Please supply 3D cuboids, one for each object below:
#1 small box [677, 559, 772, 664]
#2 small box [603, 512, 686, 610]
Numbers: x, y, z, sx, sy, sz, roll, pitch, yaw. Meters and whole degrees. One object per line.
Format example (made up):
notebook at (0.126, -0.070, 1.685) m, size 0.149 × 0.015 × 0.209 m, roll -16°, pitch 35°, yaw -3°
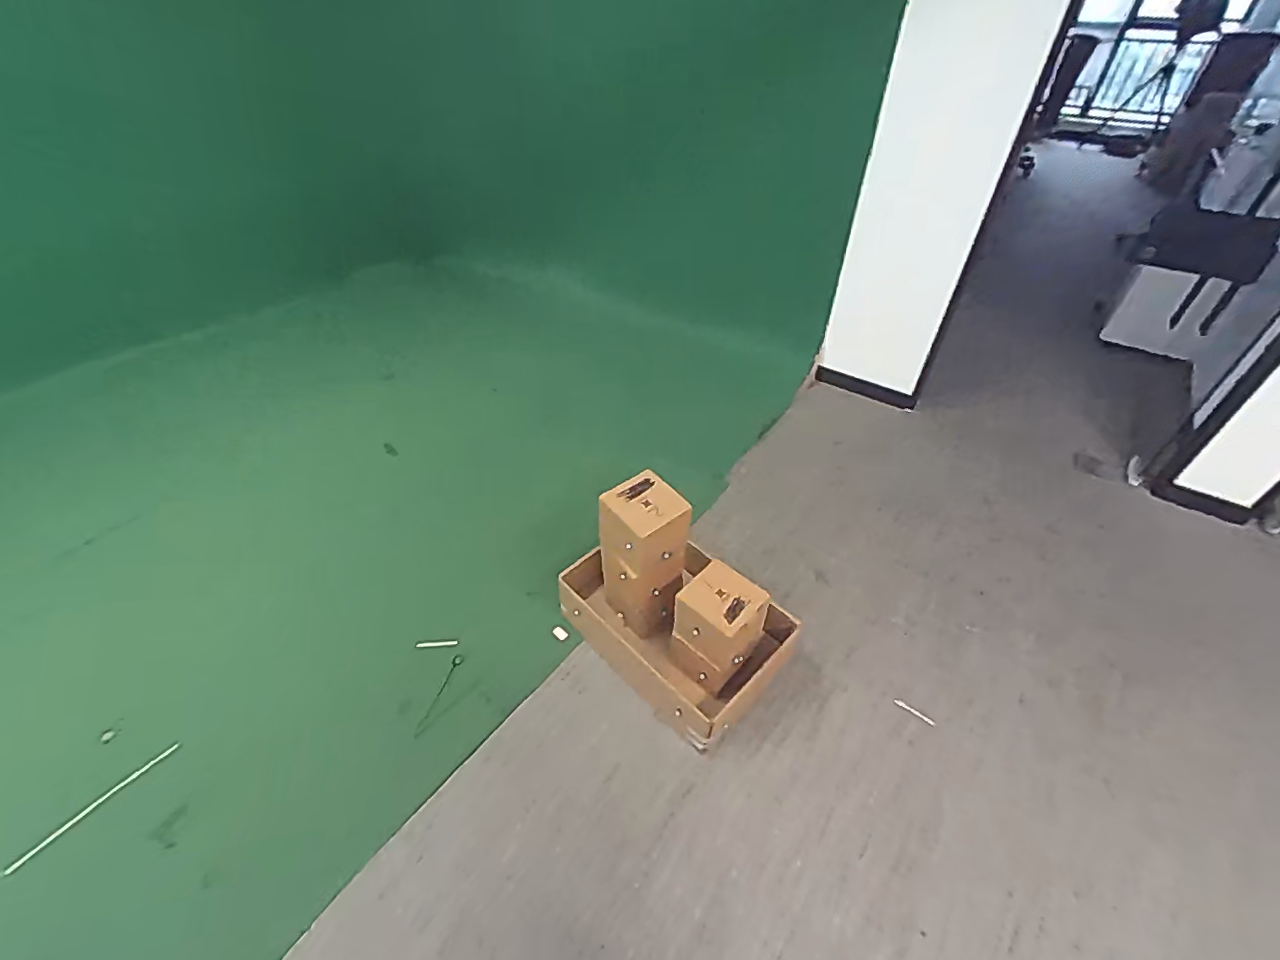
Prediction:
small box at (0.212, 0.345, 1.391) m, size 0.179 × 0.176 × 0.168 m, roll 32°, pitch 53°, yaw 32°
small box at (0.008, 0.229, 1.522) m, size 0.168 × 0.176 × 0.179 m, roll -25°, pitch 51°, yaw -24°
